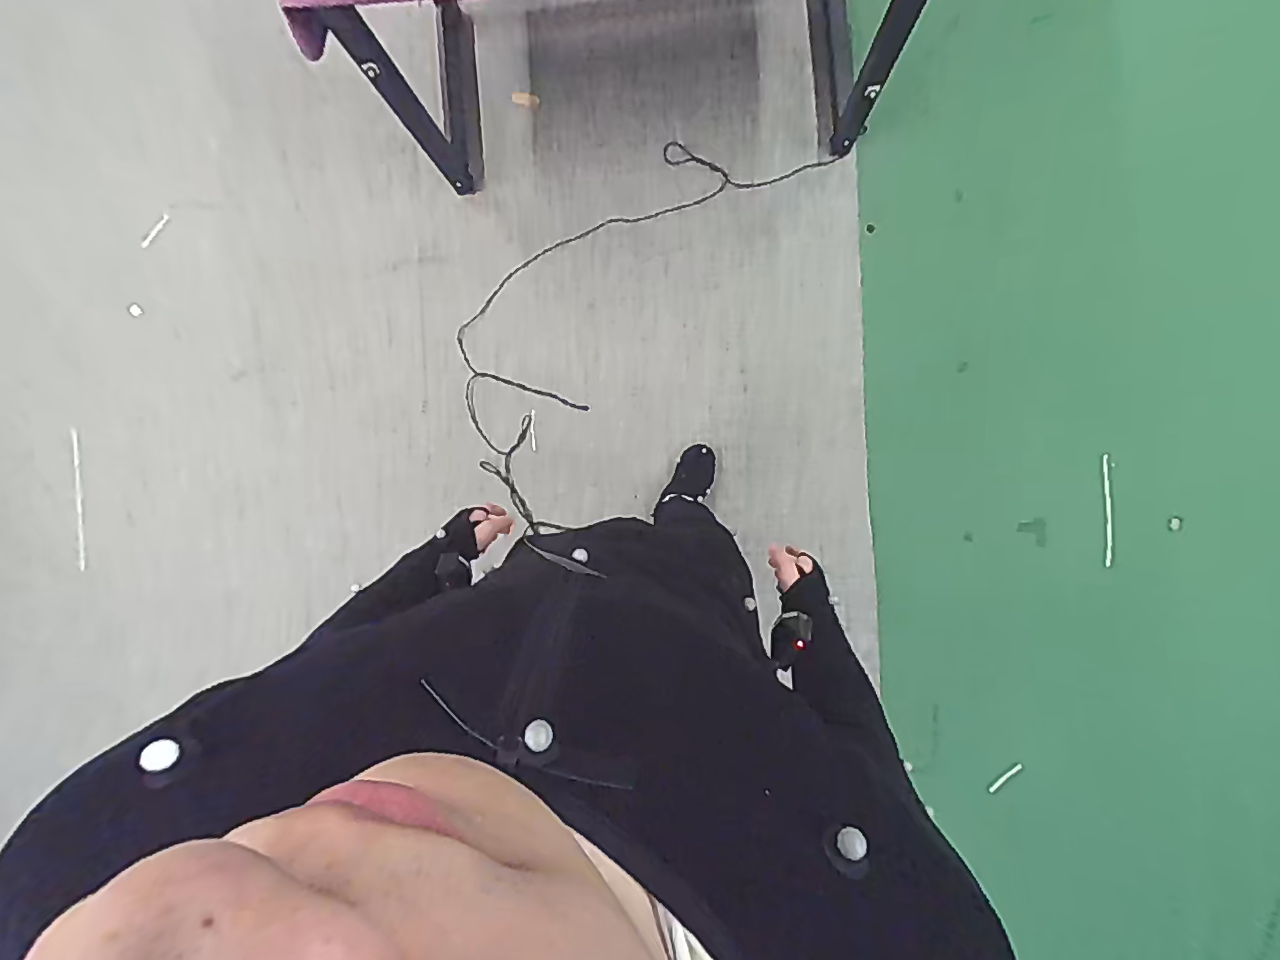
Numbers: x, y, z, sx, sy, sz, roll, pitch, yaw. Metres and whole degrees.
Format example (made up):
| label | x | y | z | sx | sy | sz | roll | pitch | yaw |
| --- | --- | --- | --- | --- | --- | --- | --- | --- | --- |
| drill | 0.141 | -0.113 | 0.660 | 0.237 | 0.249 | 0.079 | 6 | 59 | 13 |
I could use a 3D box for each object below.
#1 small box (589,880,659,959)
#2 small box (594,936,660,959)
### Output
| label | x | y | z | sx | sy | sz | roll | pitch | yaw |
| --- | --- | --- | --- | --- | --- | --- | --- | --- | --- |
| small box | -0.040 | 1.295 | 1.545 | 0.168 | 0.176 | 0.179 | -9 | 90 | 4 |
| small box | -0.033 | 1.311 | 1.380 | 0.168 | 0.176 | 0.179 | -8 | 91 | 5 |
